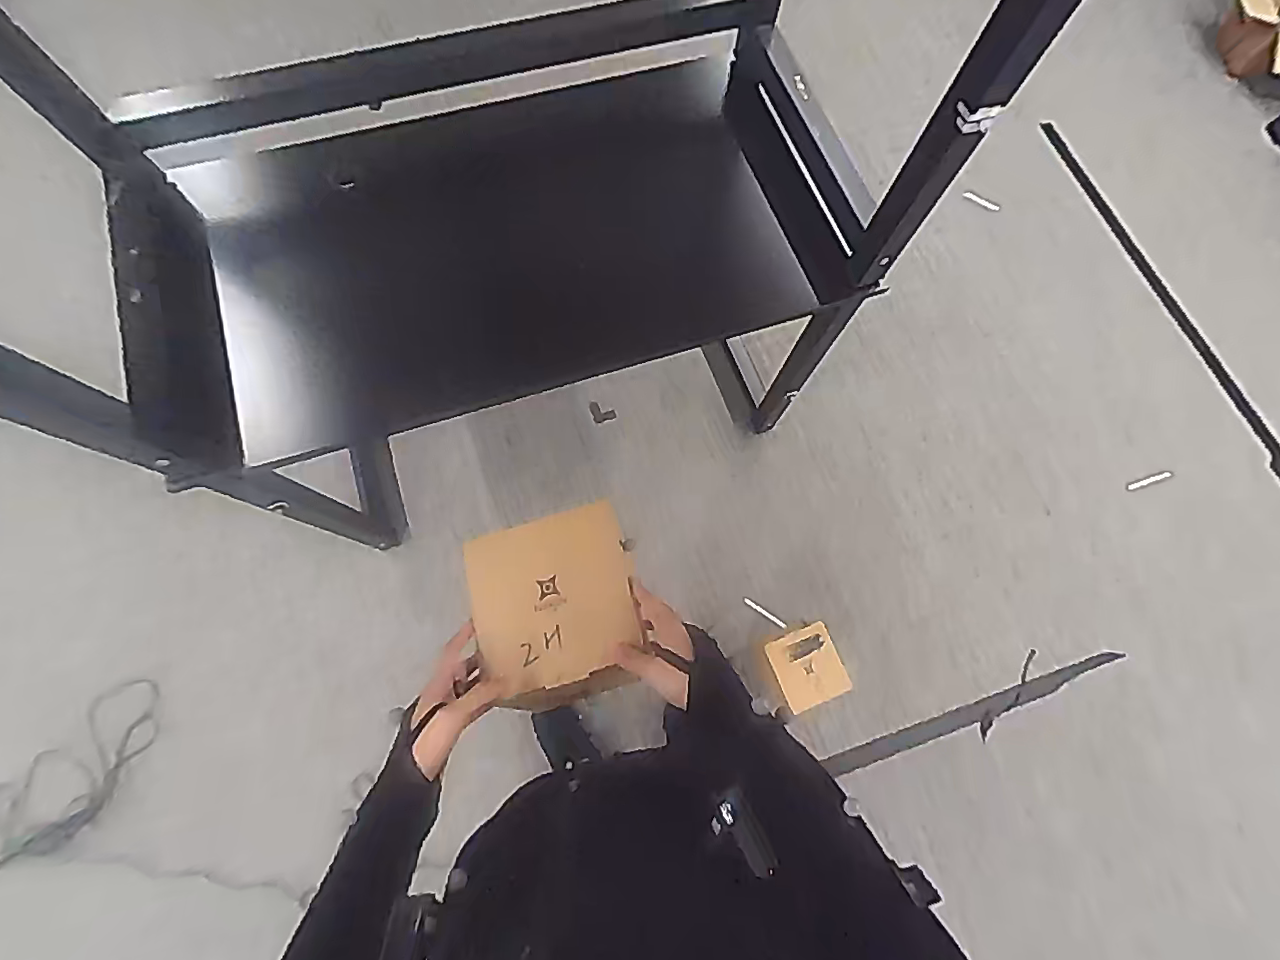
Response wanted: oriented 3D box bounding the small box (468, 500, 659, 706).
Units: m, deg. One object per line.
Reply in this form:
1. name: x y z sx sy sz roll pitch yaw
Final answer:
1. small box: -0.082 0.150 0.629 0.168 0.176 0.179 -16 65 0
